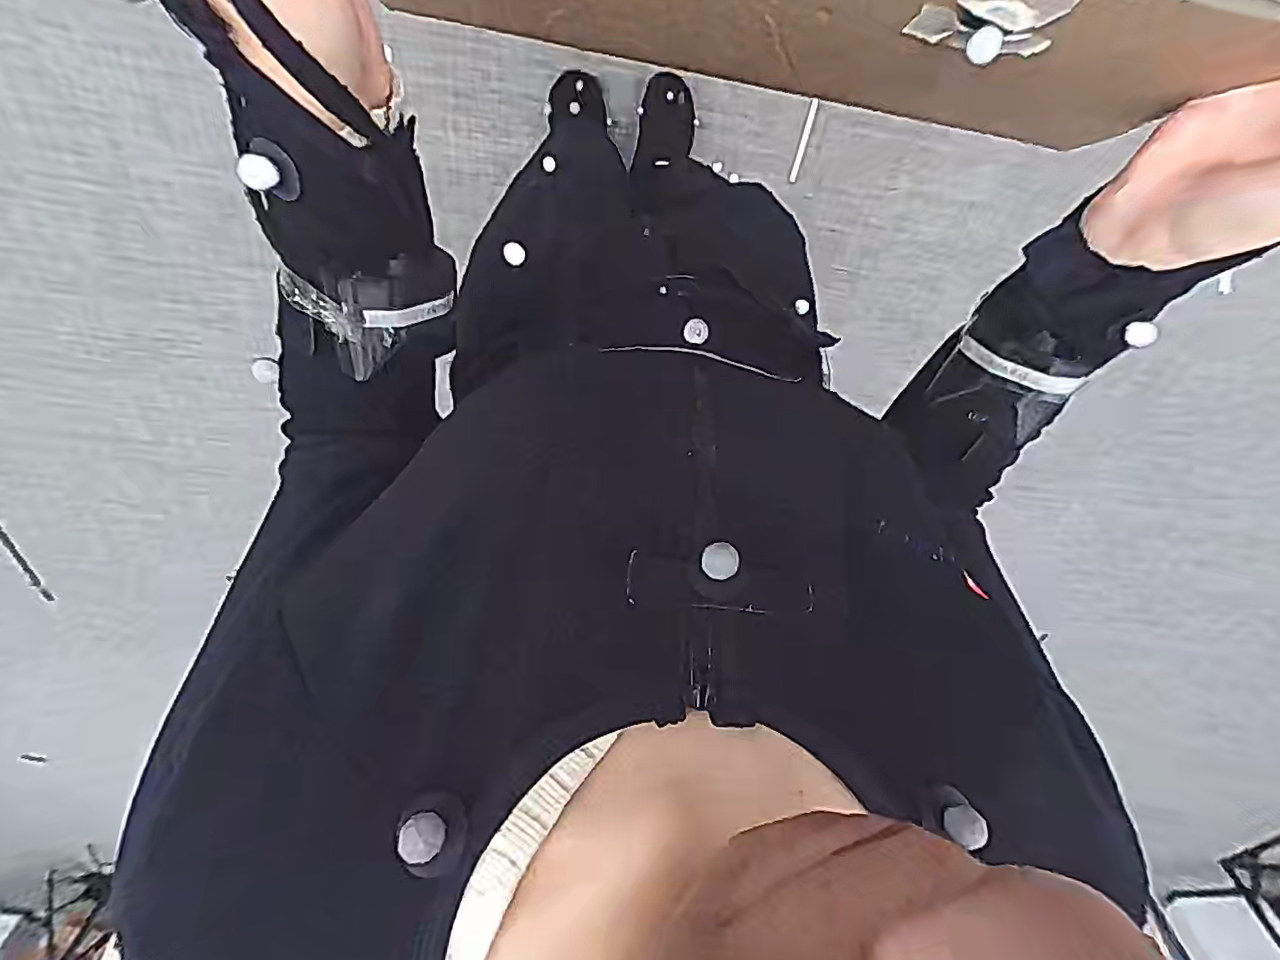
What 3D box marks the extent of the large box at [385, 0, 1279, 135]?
[{"bbox_3d":[0.094,-0.332,0.126,0.408,0.320,0.320,5,107,-8],"label":"large box"}]
